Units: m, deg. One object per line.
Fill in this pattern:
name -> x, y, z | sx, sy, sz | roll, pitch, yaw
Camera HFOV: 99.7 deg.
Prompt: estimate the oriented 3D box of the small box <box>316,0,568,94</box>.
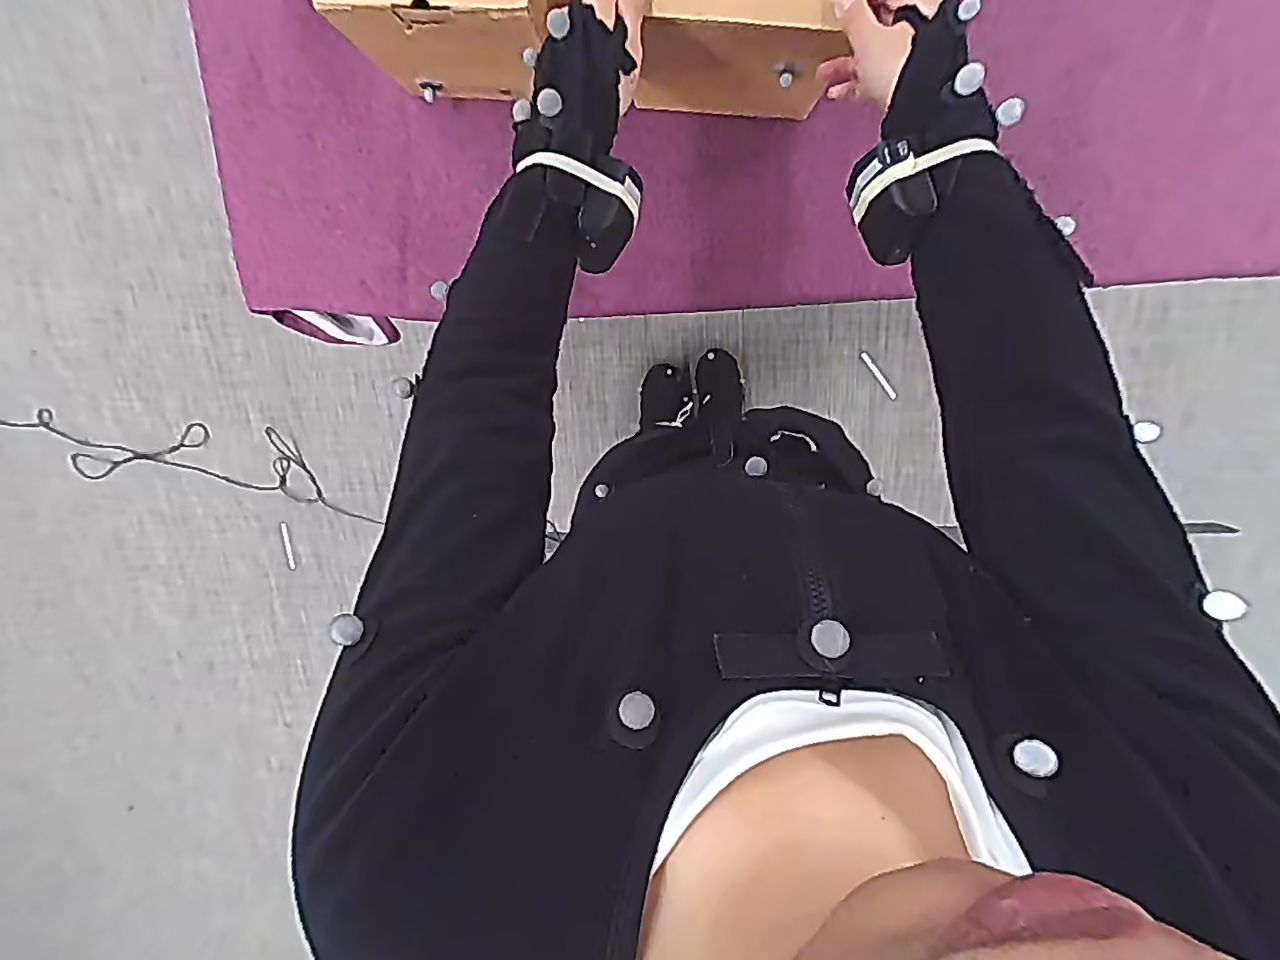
small box -> -0.153, -0.454, 0.451 | 0.168, 0.176, 0.179 | 3, 105, 1
